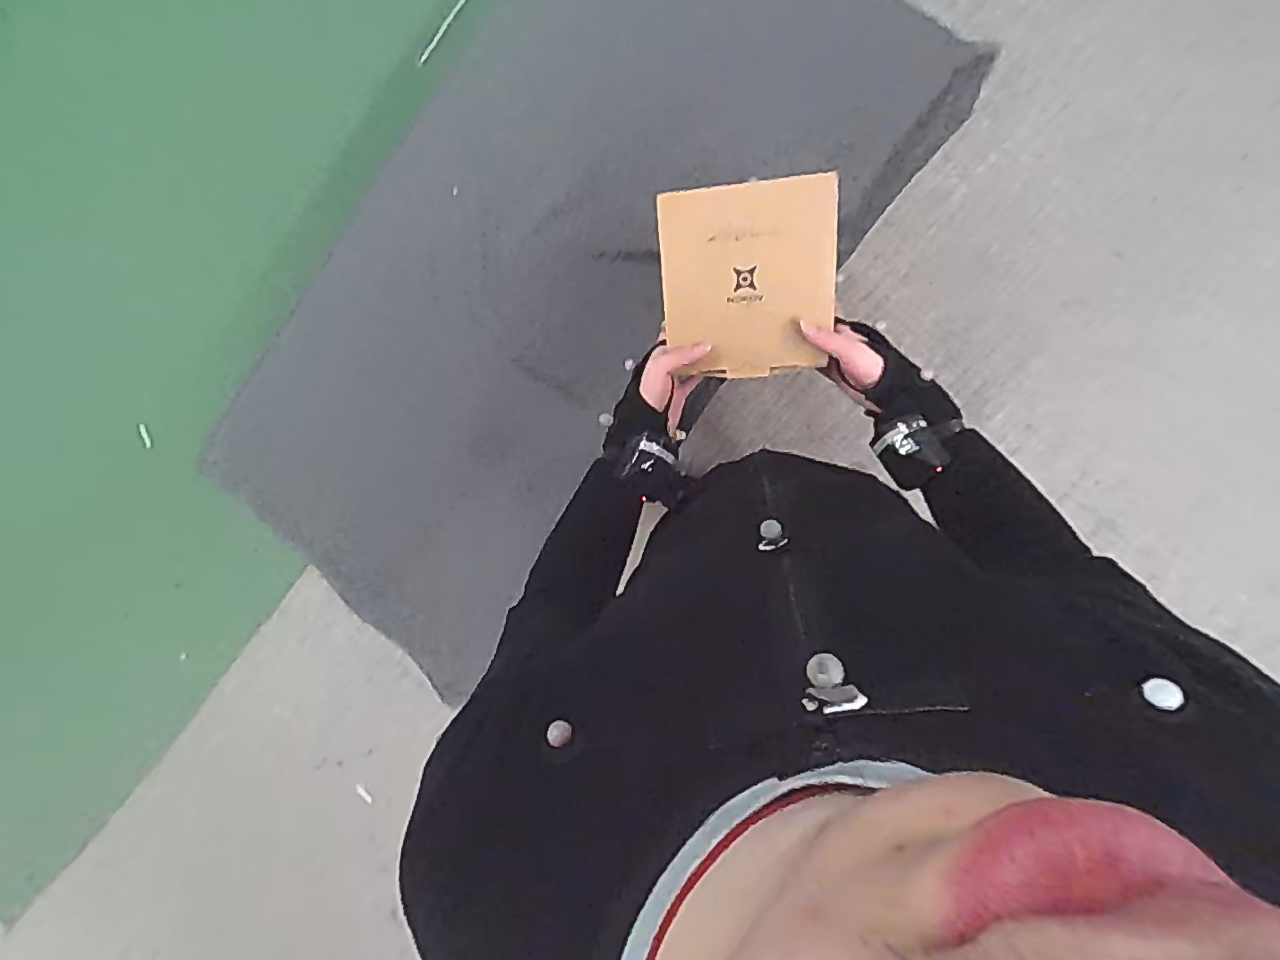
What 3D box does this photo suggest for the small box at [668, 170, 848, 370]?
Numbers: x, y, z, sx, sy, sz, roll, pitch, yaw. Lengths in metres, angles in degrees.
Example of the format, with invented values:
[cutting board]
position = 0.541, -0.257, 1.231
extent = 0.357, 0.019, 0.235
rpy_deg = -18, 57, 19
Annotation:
[small box]
position = 0.125, -0.229, 0.601
extent = 0.168, 0.176, 0.179
rpy_deg = -1, 112, 9
